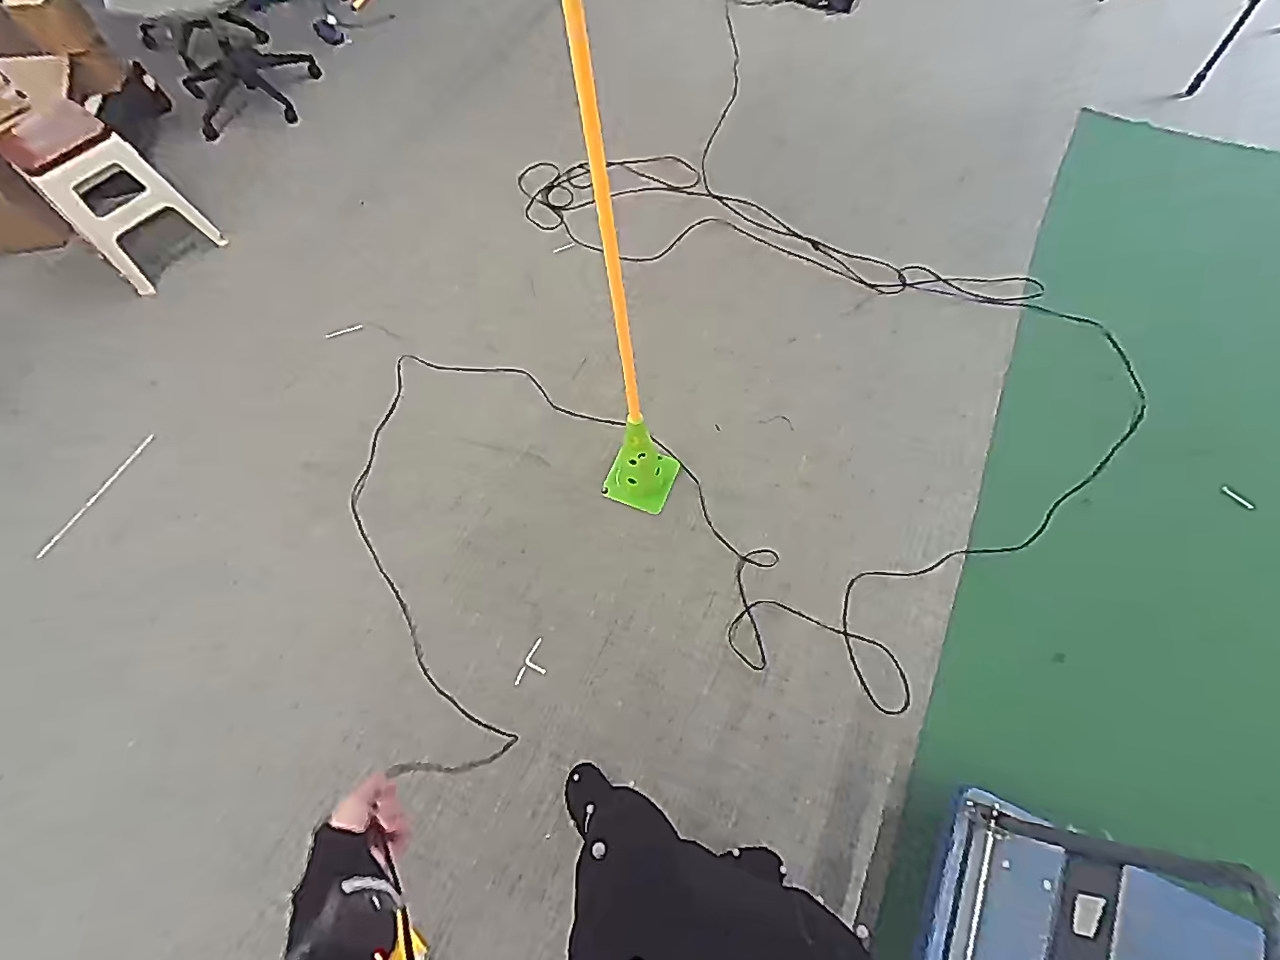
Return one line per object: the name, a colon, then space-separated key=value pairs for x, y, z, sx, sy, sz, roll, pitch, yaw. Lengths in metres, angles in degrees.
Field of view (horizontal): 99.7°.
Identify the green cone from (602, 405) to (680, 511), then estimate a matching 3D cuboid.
green cone: x=-0.001 y=-0.089 z=1.522 sx=0.200 sy=0.368 sz=0.202 roll=19 pitch=65 yaw=11
